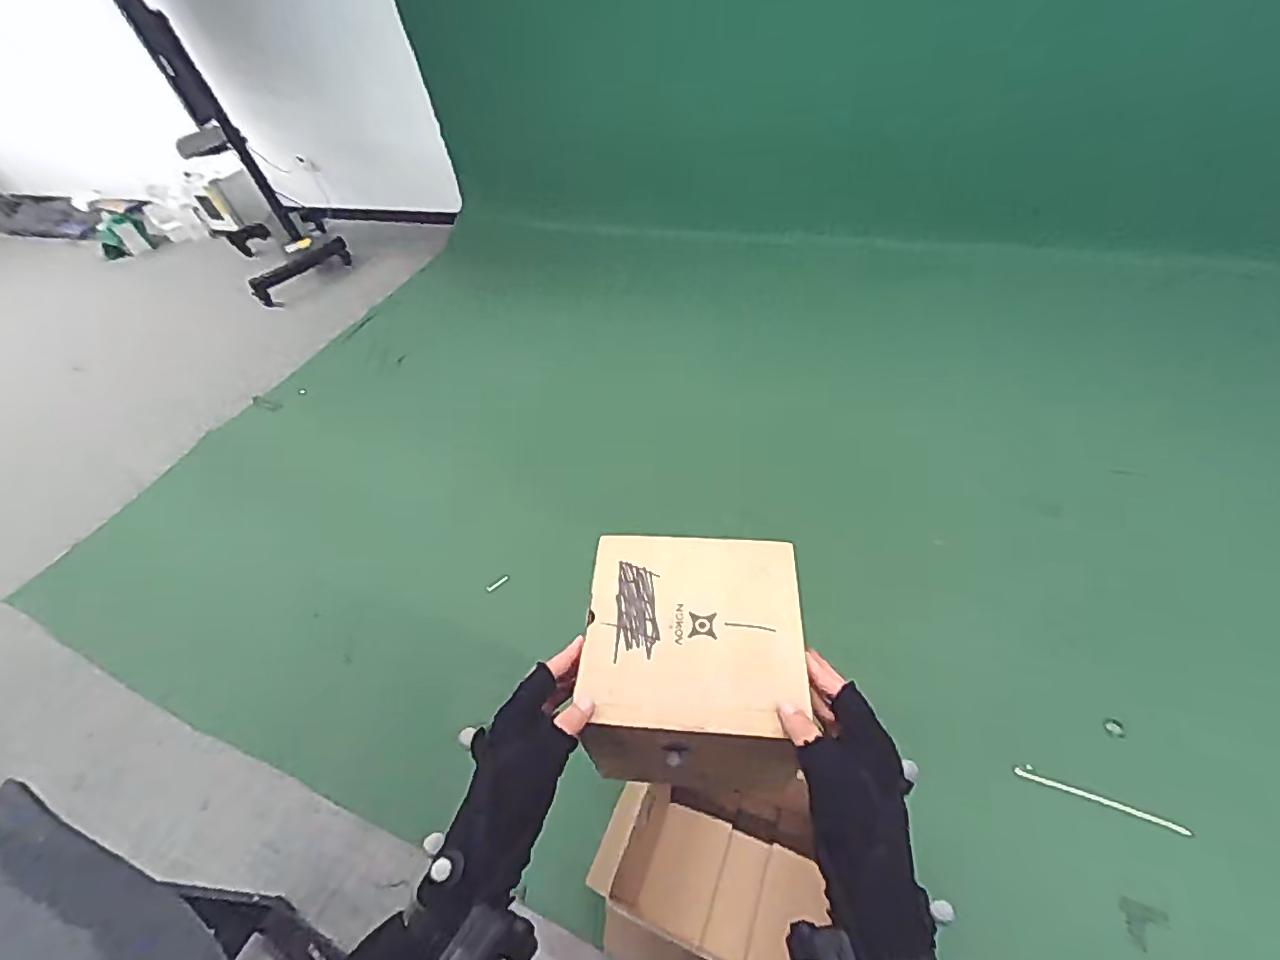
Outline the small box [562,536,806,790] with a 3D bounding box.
[{"bbox_3d":[0.043,0.167,0.490,0.179,0.176,0.168,0,49,7],"label":"small box"}]
